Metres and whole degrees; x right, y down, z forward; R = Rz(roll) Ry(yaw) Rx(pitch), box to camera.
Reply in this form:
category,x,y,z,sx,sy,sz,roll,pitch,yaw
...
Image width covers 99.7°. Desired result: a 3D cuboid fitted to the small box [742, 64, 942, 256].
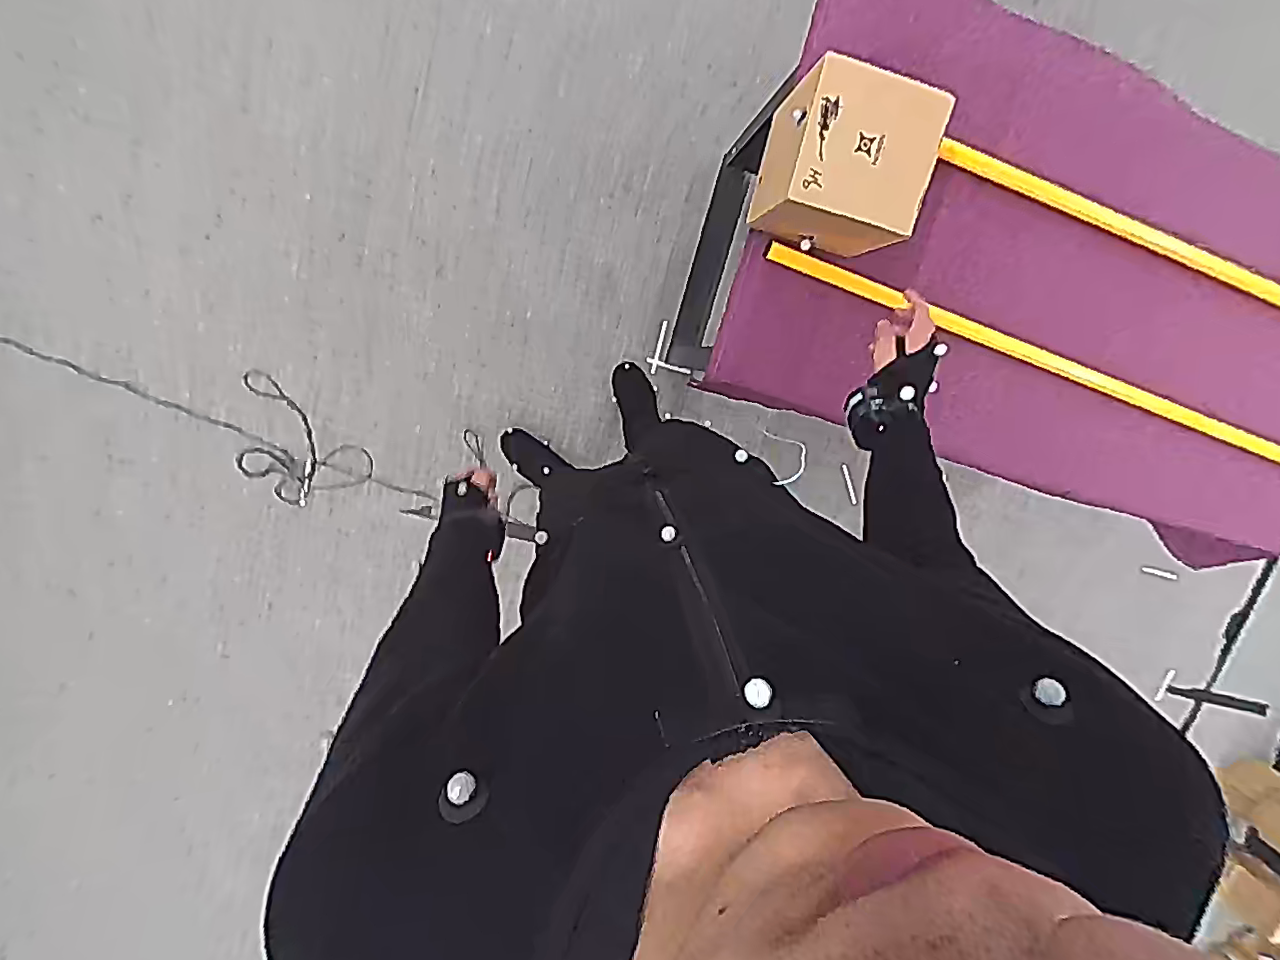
category,x,y,z,sx,sy,sz,roll,pitch,yaw
small box,0.266,-0.424,0.754,0.179,0.176,0.168,12,102,-10
